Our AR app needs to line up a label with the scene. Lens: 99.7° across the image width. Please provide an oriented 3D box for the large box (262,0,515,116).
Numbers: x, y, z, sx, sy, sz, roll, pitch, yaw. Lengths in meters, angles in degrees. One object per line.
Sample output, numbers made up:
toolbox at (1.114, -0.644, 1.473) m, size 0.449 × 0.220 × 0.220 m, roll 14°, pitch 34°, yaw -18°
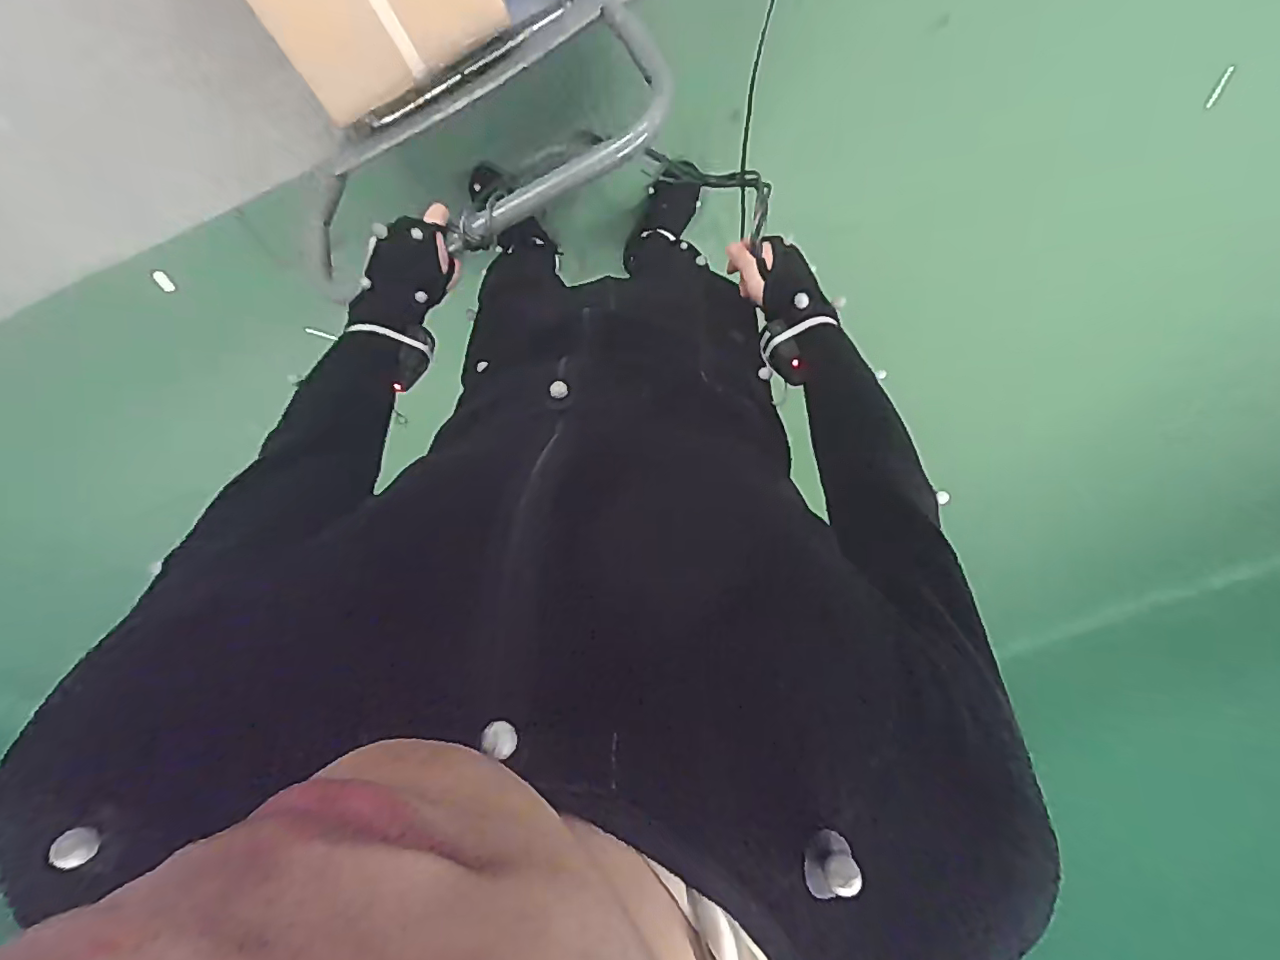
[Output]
large box at (-0.417, -0.841, 0.775) m, size 0.320 × 0.320 × 0.408 m, roll -24°, pitch 135°, yaw 9°
